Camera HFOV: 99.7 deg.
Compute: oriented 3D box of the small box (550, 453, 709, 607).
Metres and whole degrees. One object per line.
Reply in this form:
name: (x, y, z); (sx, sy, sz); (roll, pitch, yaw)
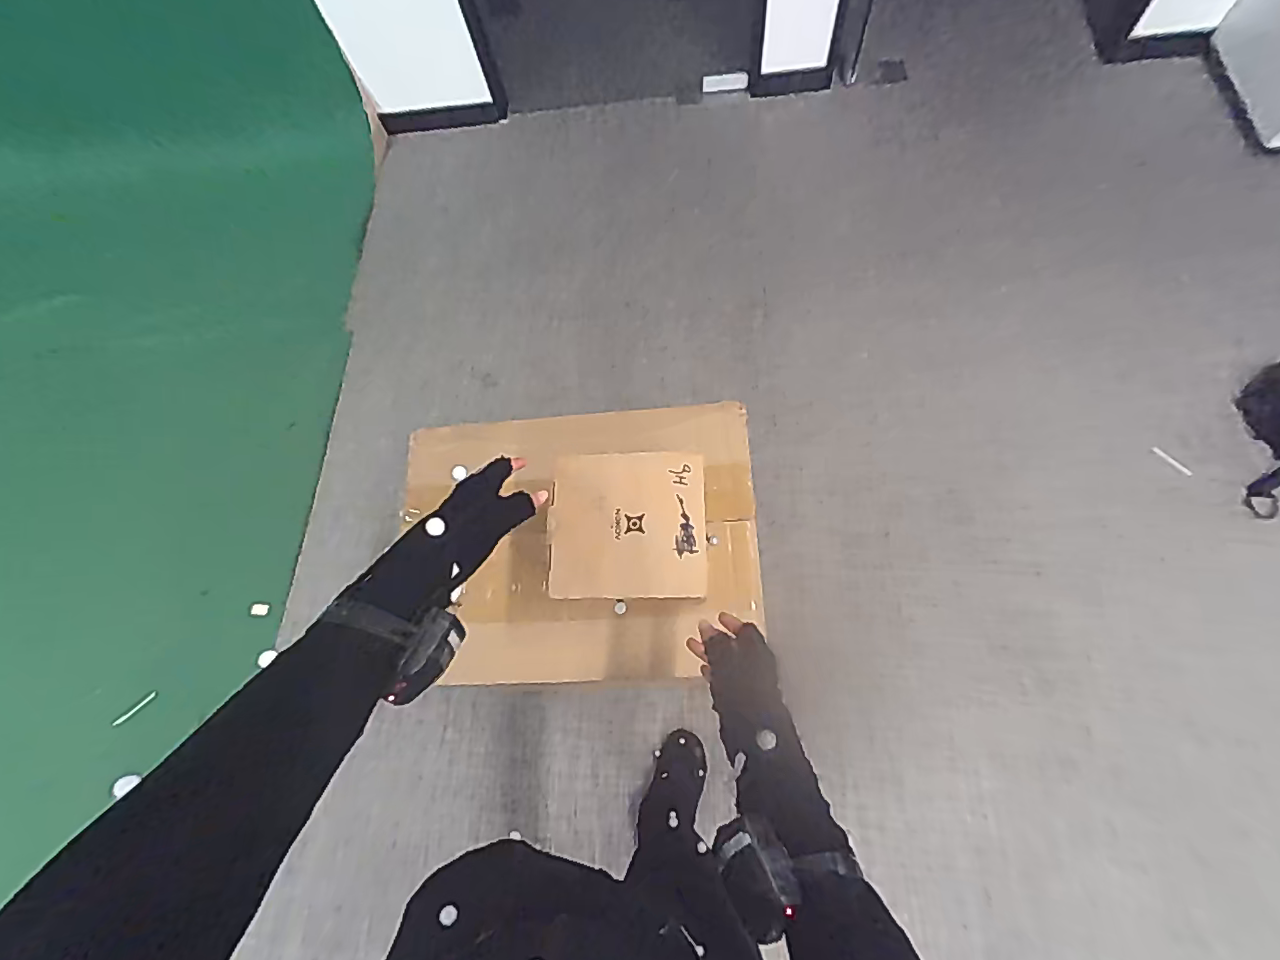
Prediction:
small box: (-0.003, 0.072, 0.683); (0.179, 0.176, 0.168); (-2, 74, 6)
